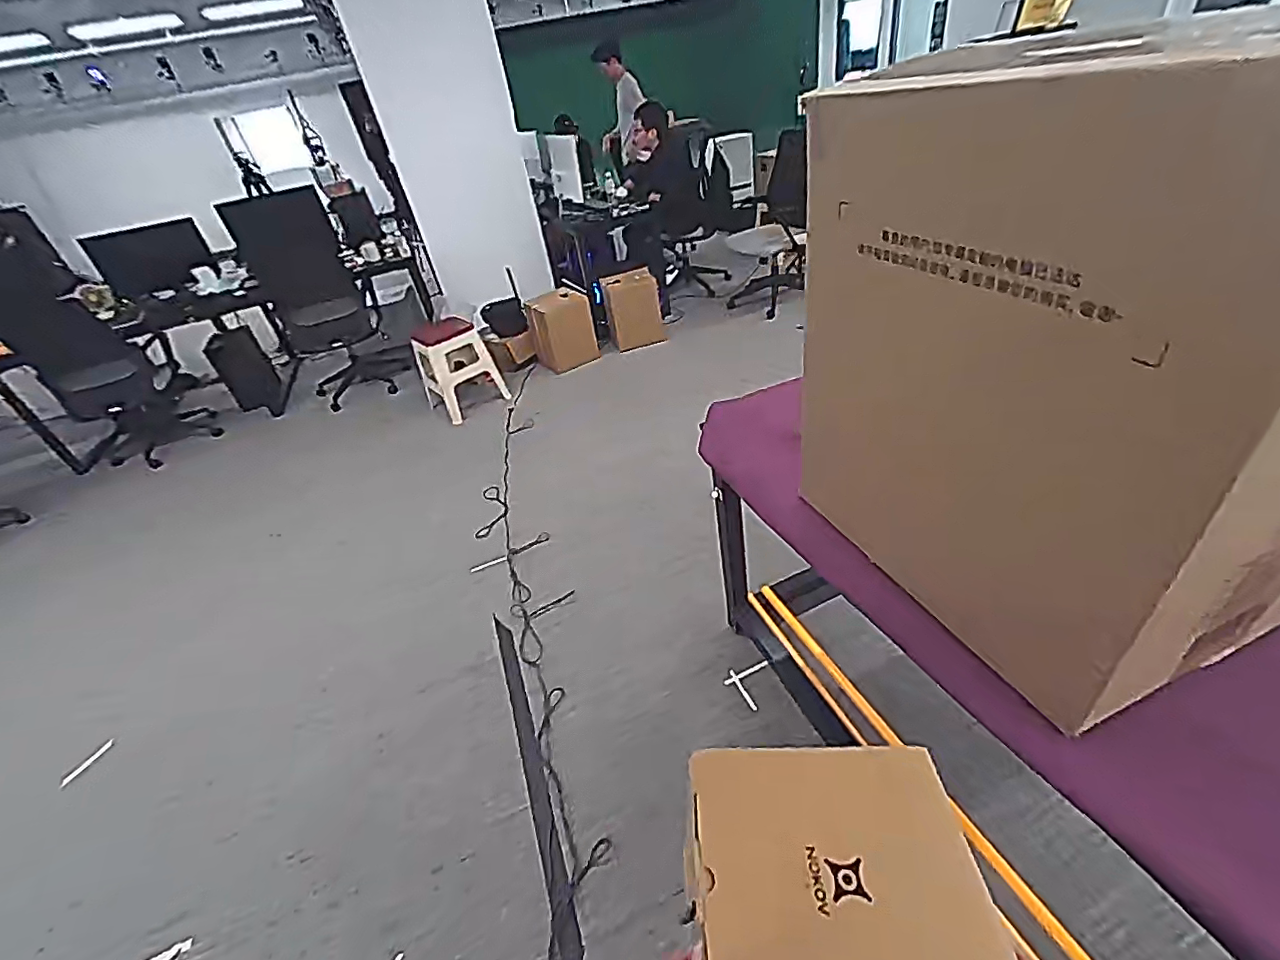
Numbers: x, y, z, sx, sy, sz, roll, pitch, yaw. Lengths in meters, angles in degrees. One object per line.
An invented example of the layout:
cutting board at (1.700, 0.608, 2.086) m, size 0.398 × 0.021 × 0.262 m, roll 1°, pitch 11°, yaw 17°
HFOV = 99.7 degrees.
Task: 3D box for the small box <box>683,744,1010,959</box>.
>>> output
small box at (0.123, 0.310, 0.382) m, size 0.179 × 0.176 × 0.168 m, roll -1°, pitch 36°, yaw 2°
